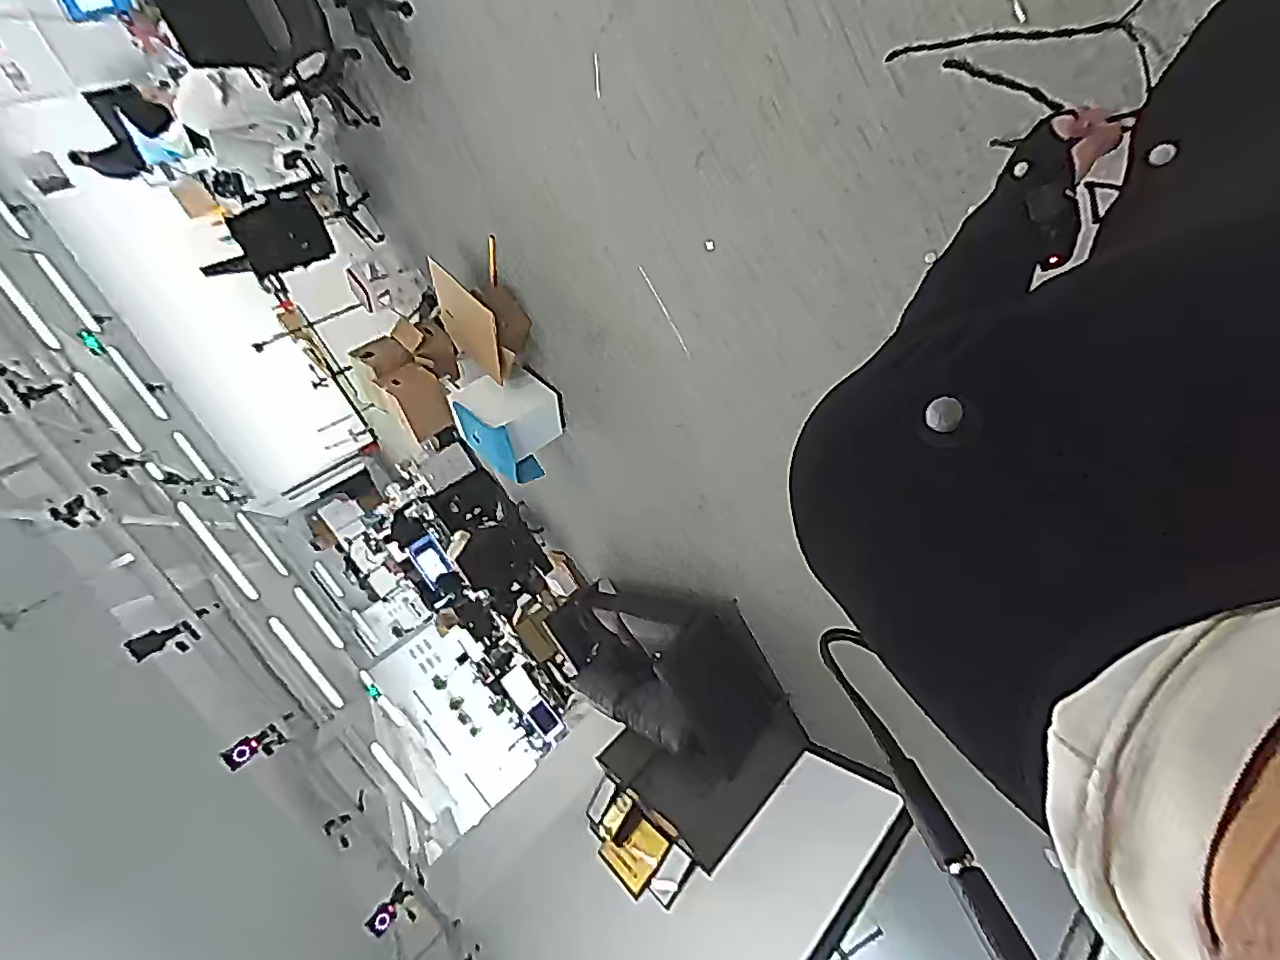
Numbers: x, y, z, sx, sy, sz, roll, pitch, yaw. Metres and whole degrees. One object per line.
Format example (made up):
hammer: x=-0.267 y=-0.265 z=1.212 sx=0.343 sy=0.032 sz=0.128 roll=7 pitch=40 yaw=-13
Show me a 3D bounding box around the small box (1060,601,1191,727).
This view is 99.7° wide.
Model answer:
small box: x=1.089 y=0.403 z=1.211 sx=0.168 sy=0.176 sz=0.179 roll=0 pitch=121 yaw=59
